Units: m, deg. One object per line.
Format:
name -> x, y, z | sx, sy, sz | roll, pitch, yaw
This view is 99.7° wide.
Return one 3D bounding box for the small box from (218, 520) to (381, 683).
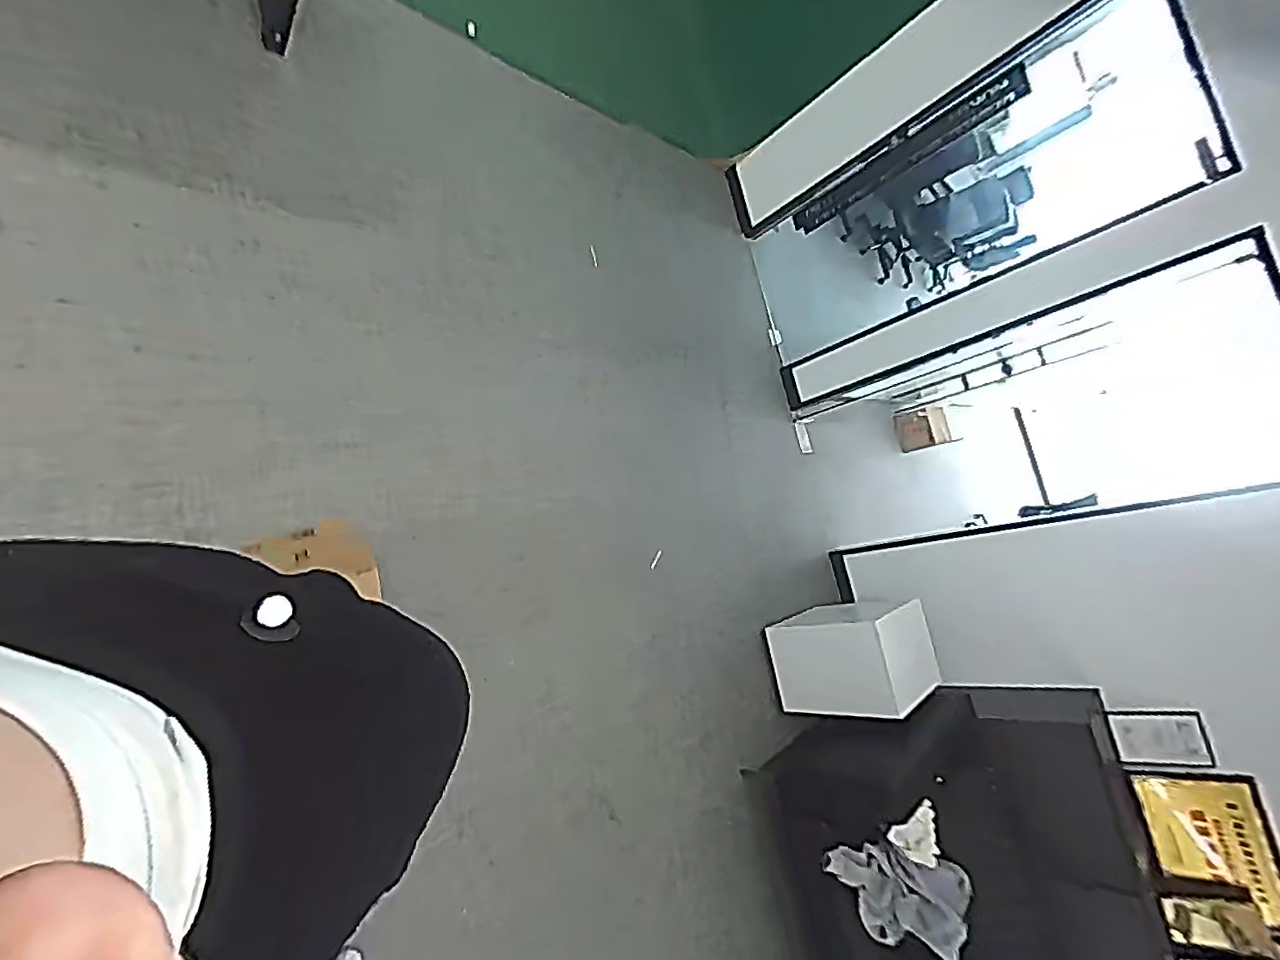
small box -> -0.540, 0.195, 0.870 | 0.168, 0.179, 0.176 | -21, 126, -41
